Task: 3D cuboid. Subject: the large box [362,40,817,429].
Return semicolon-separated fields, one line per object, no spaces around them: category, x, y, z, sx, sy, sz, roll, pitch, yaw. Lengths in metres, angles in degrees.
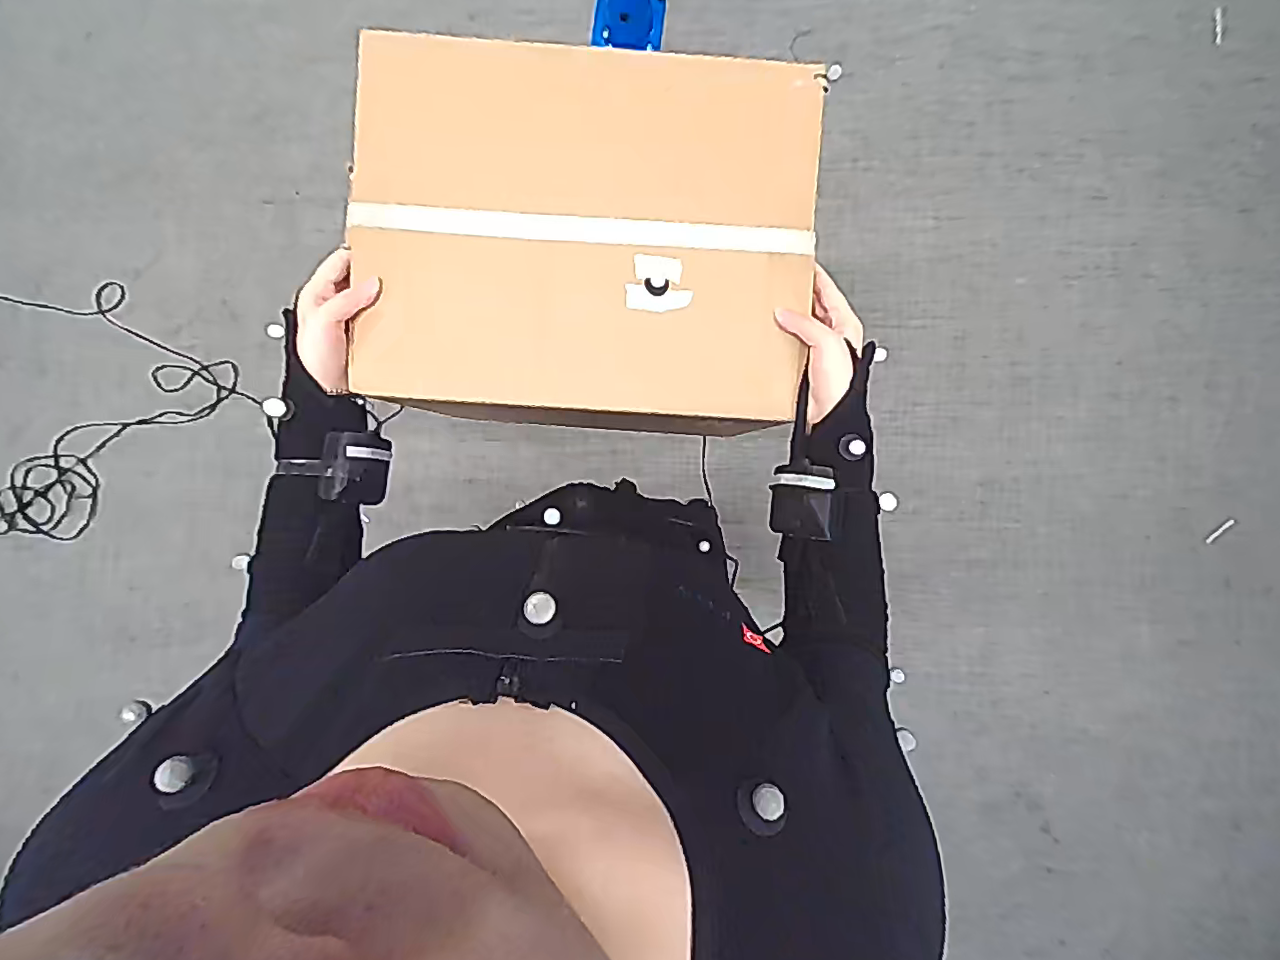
large box;-0.052;-0.230;0.633;0.408;0.320;0.320;3;93;-2

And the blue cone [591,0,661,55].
blue cone;-0.042;-1.326;1.389;0.193;0.380;0.192;9;88;1
